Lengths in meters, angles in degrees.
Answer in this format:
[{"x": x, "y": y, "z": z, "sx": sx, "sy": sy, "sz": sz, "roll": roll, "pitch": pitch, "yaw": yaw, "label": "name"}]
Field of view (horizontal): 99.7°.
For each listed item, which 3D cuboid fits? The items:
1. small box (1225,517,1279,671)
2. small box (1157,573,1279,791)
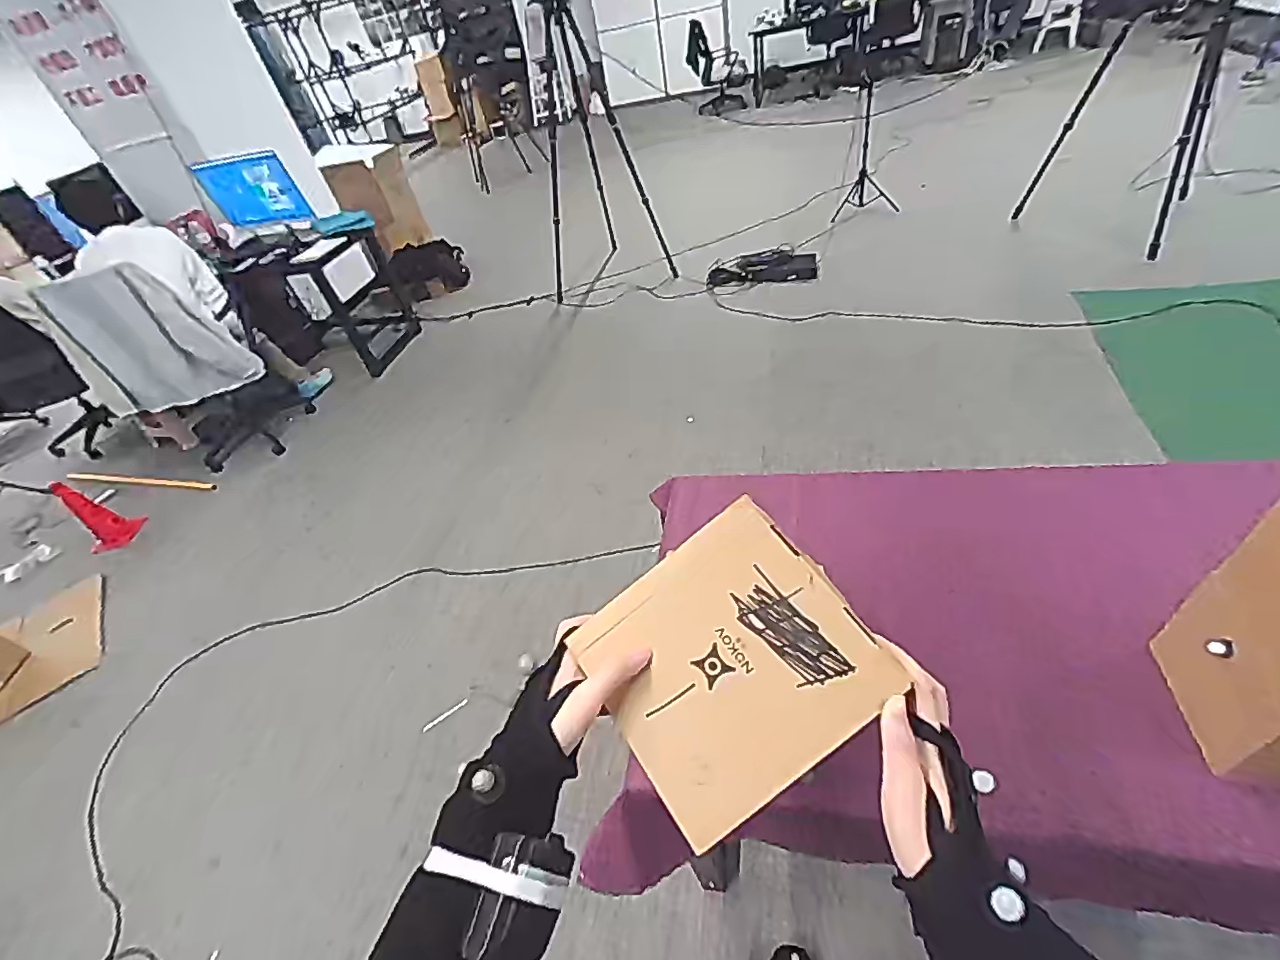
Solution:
[{"x": 0.702, "y": 0.108, "z": 0.483, "sx": 0.168, "sy": 0.176, "sz": 0.179, "roll": 1, "pitch": 45, "yaw": 16, "label": "small box"}, {"x": 0.730, "y": 0.225, "z": 0.593, "sx": 0.168, "sy": 0.176, "sz": 0.179, "roll": 0, "pitch": 45, "yaw": 17, "label": "small box"}]
